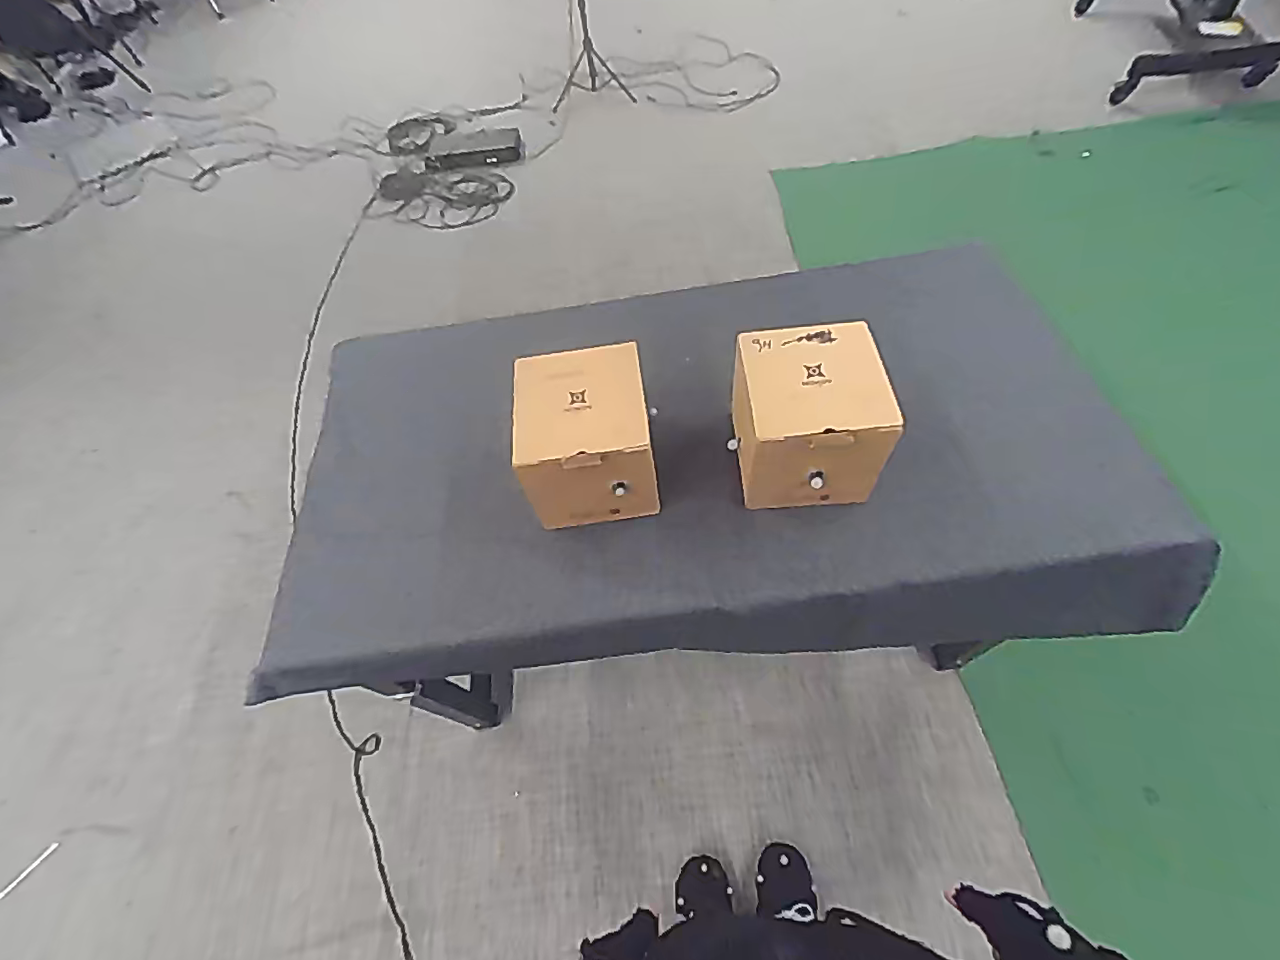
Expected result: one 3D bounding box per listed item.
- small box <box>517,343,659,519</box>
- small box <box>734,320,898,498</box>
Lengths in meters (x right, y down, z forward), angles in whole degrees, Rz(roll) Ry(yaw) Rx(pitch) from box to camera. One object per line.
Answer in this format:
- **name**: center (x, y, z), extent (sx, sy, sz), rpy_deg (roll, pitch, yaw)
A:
- **small box**: center (-0.067, -0.059, 0.749), extent (0.168, 0.176, 0.179), rpy_deg (-8, 56, 0)
- **small box**: center (0.220, -0.085, 0.729), extent (0.168, 0.176, 0.179), rpy_deg (-5, 58, 4)
